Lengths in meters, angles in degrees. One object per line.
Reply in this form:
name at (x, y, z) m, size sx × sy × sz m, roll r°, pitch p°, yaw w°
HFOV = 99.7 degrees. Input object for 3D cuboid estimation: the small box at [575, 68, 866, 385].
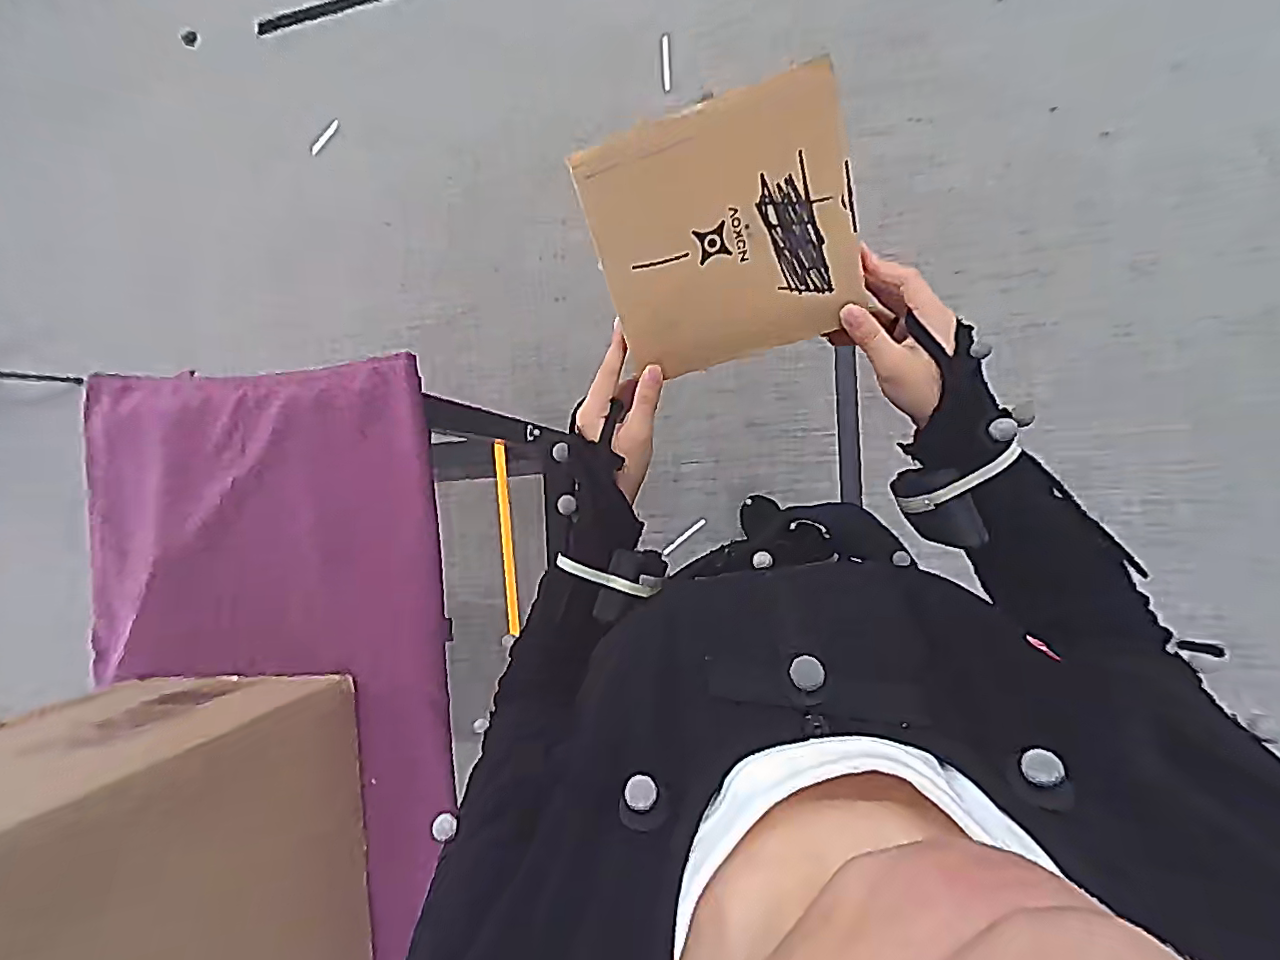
small box at (0.064, -0.199, 0.450) m, size 0.179 × 0.176 × 0.168 m, roll -15°, pitch 113°, yaw 11°
